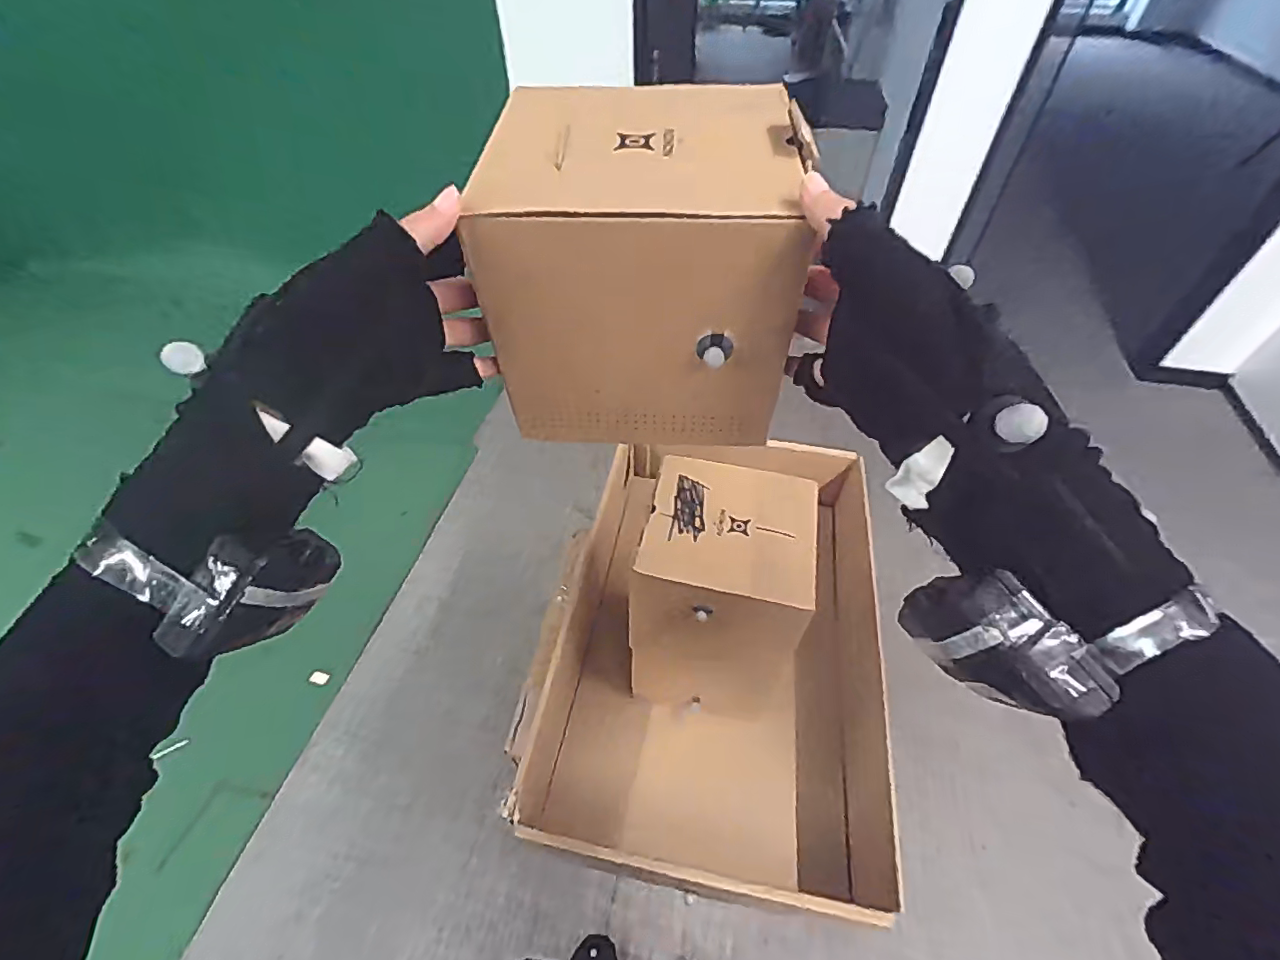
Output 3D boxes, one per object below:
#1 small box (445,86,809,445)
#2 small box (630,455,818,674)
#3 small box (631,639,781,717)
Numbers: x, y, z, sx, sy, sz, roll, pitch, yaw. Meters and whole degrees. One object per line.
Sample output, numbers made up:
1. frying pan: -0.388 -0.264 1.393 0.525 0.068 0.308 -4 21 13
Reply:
1. small box: -0.001 -0.137 0.365 0.179 0.176 0.168 1 53 4
2. small box: 0.091 0.099 0.615 0.179 0.176 0.168 12 49 8
3. small box: 0.089 0.205 0.740 0.179 0.176 0.168 9 47 6
